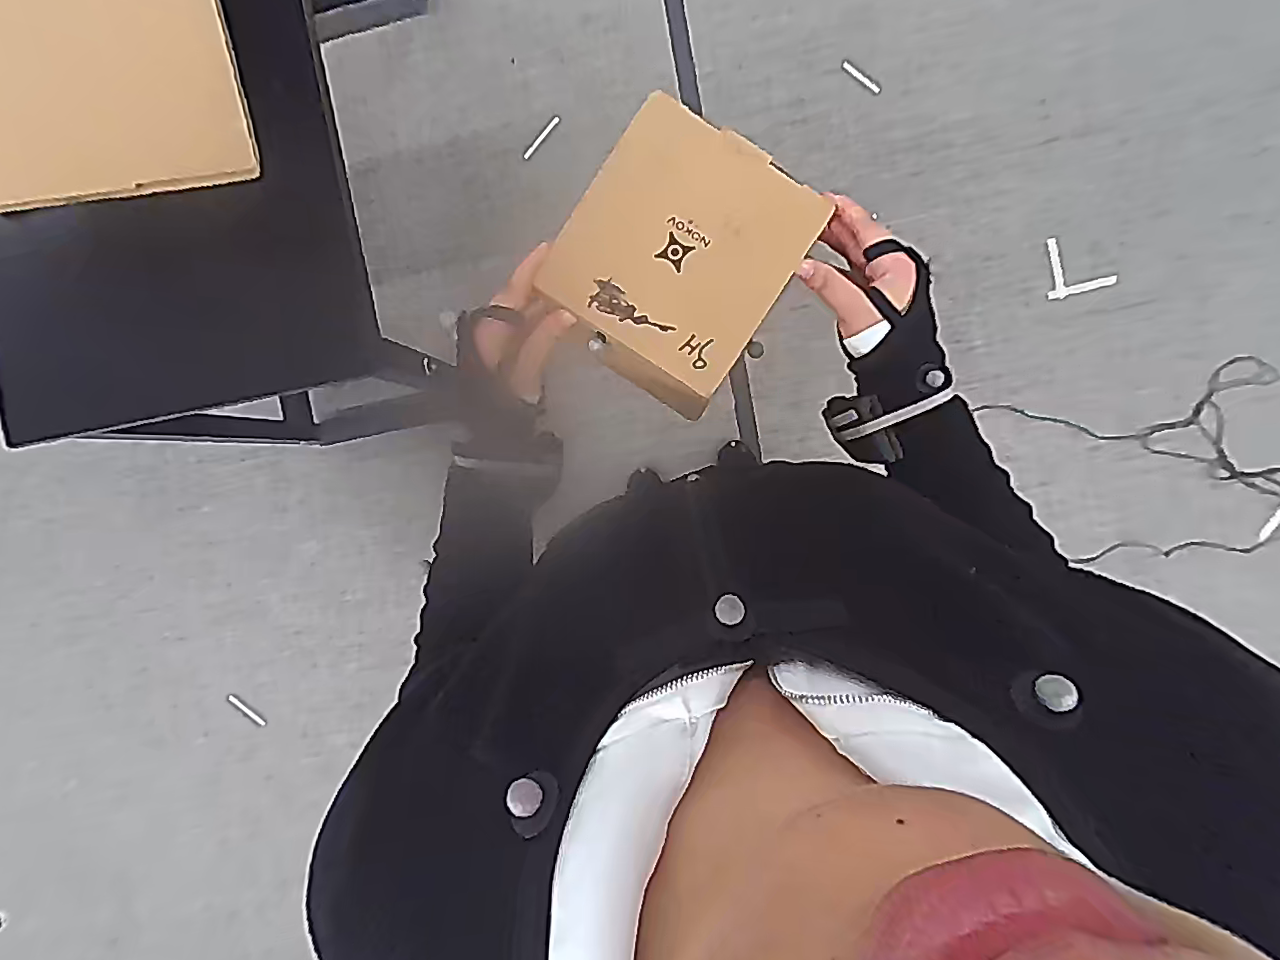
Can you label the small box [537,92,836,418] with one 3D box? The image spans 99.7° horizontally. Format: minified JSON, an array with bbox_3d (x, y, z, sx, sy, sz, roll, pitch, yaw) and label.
[{"bbox_3d":[0.036,-0.177,0.485,0.168,0.176,0.179,34,90,3],"label":"small box"}]
